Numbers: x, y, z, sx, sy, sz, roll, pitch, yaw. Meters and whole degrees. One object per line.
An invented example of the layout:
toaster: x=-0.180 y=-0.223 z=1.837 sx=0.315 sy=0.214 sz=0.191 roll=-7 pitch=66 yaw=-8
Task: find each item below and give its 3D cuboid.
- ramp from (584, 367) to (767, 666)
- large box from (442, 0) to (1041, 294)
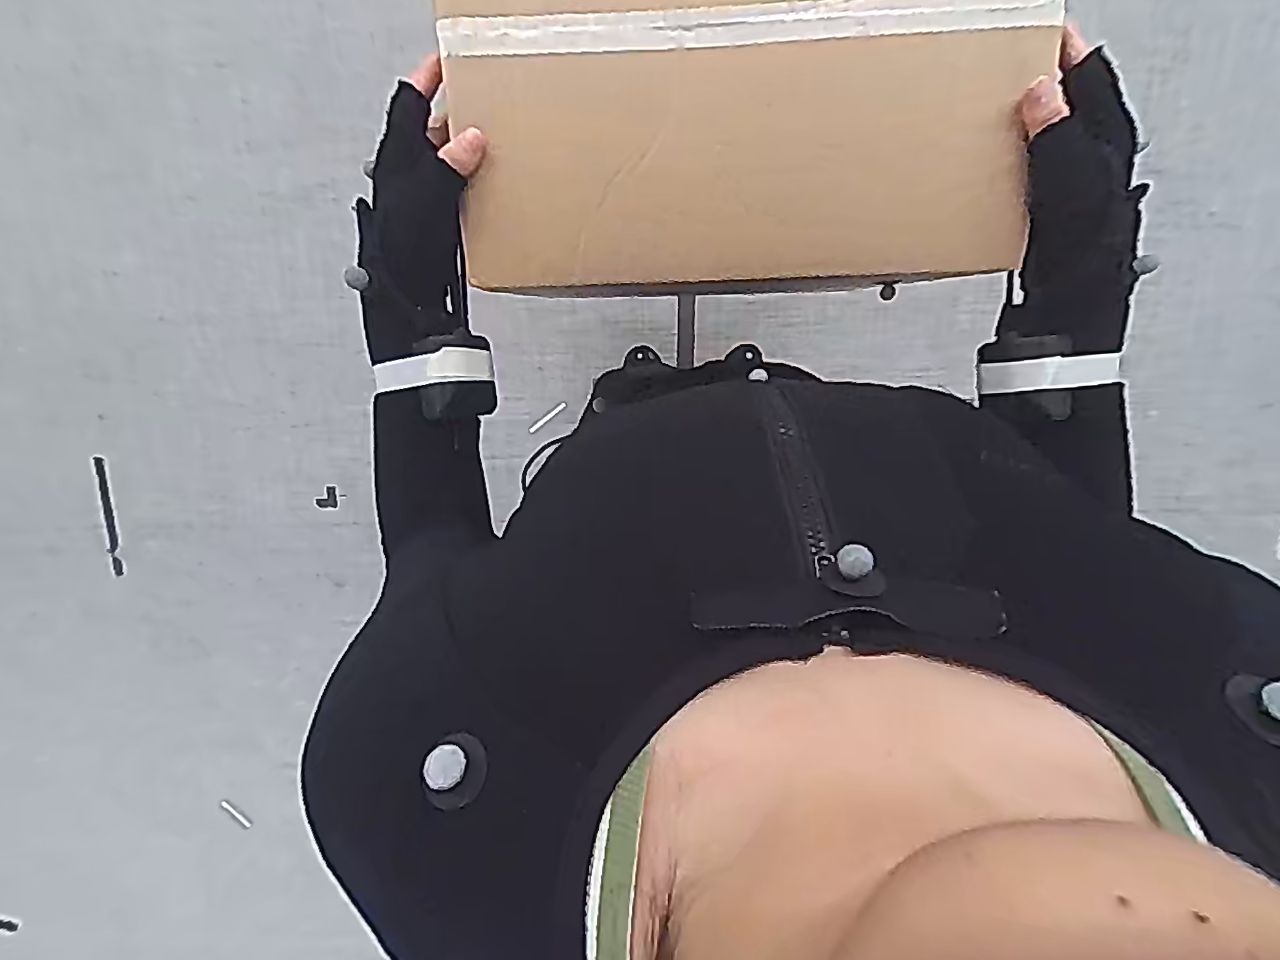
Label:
ramp: x=0.103 y=0.161 z=1.624 sx=0.509 sy=0.206 sz=0.991 roll=-2 pitch=103 yaw=0
large box: x=0.069 y=-0.345 z=0.504 sx=0.408 sy=0.320 sz=0.320 roll=-2 pitch=107 yaw=0
